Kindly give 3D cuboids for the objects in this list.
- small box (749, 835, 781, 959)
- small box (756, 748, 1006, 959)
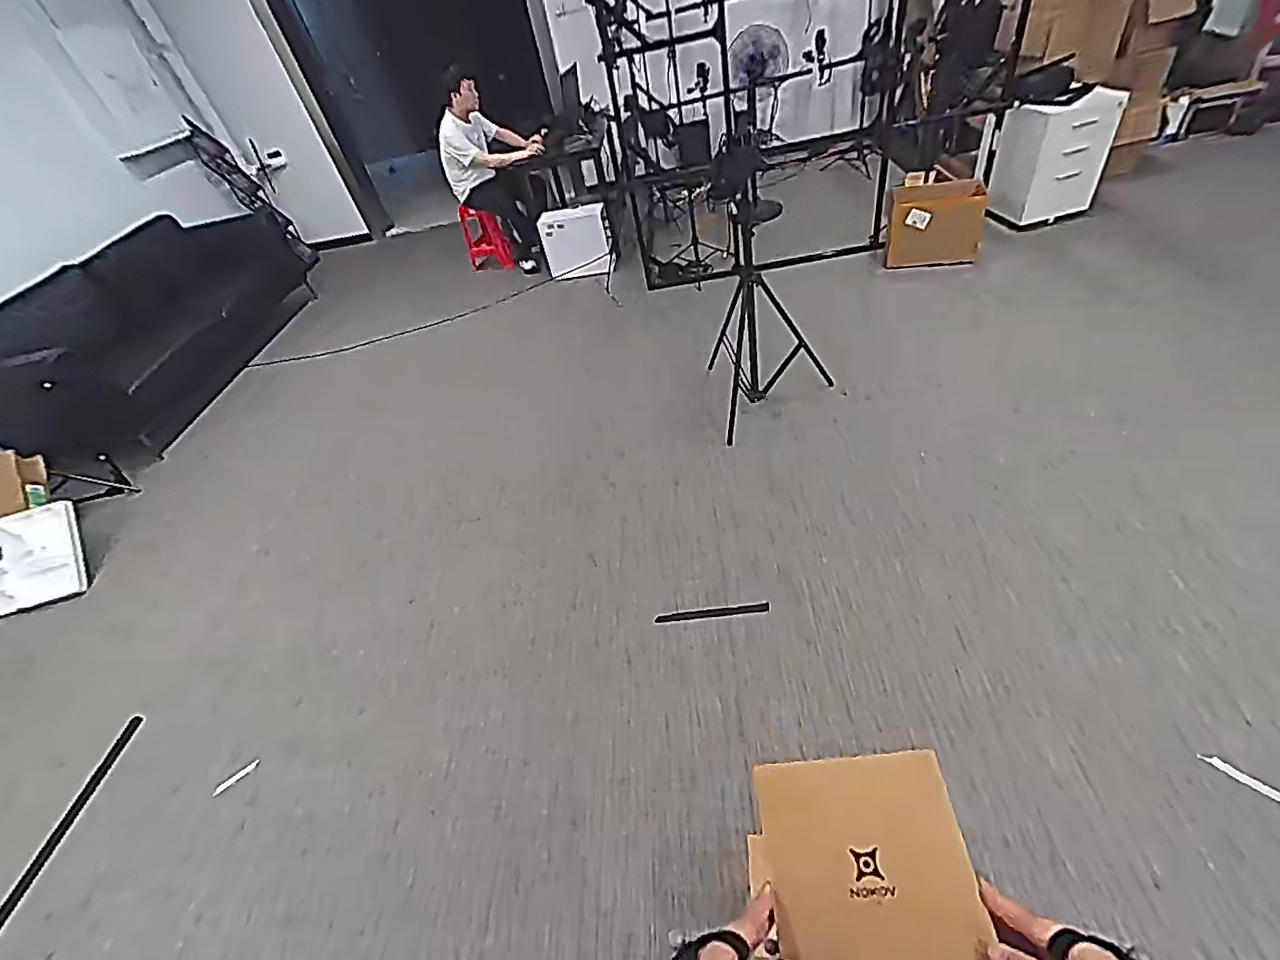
[{"bbox_3d":[0.288,0.774,0.985,0.168,0.176,0.179,-5,44,12],"label":"small box"},{"bbox_3d":[0.208,0.371,0.506,0.168,0.176,0.179,-11,50,11],"label":"small box"}]
